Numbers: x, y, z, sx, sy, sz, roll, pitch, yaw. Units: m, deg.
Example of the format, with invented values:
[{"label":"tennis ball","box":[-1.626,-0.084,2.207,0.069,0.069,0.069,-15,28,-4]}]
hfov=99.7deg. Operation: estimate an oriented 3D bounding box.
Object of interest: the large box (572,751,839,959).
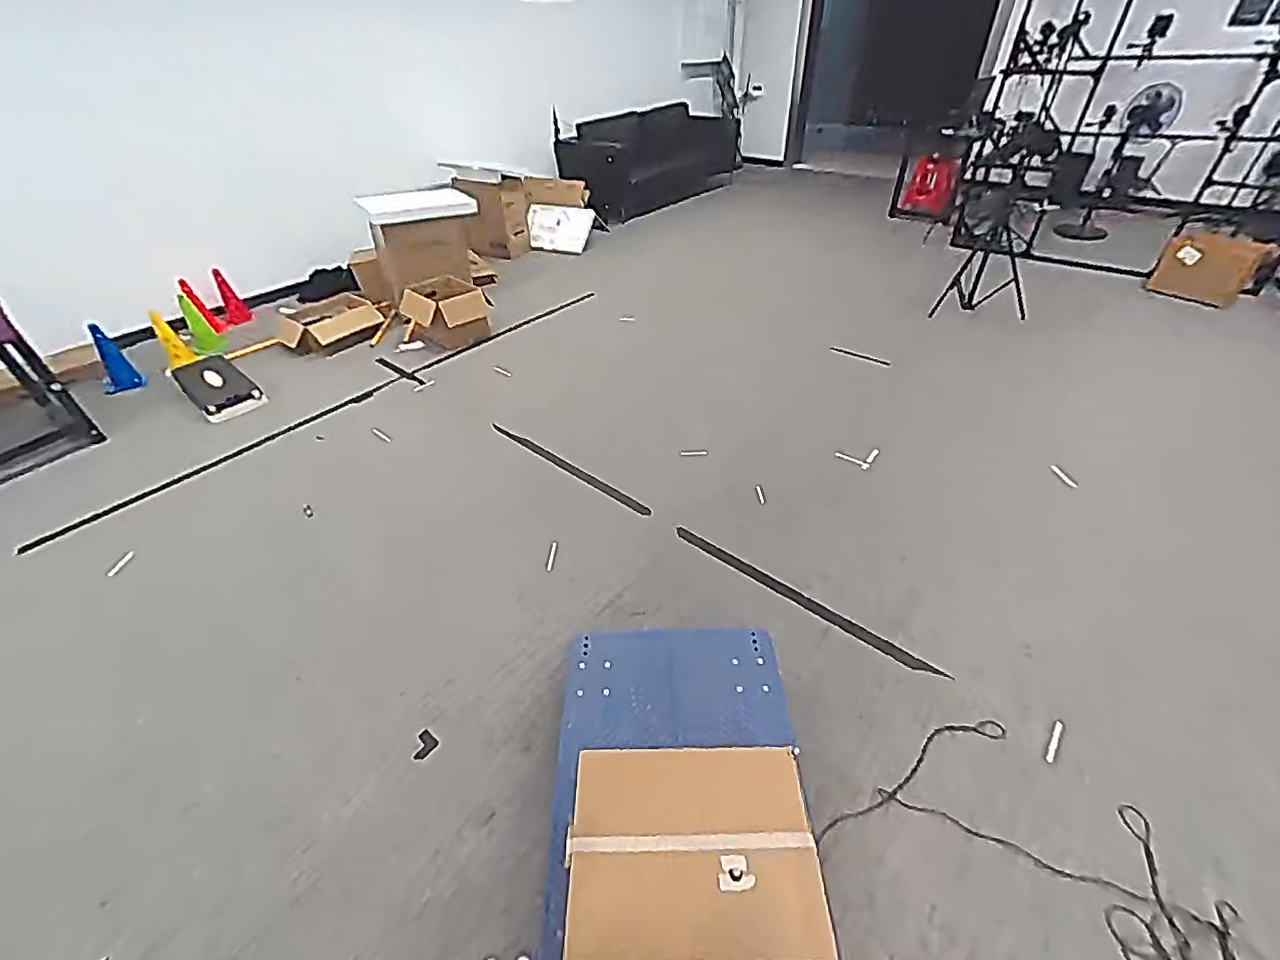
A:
[{"label":"large box","box":[0.092,0.731,0.998,0.408,0.320,0.320,-1,40,0]}]
